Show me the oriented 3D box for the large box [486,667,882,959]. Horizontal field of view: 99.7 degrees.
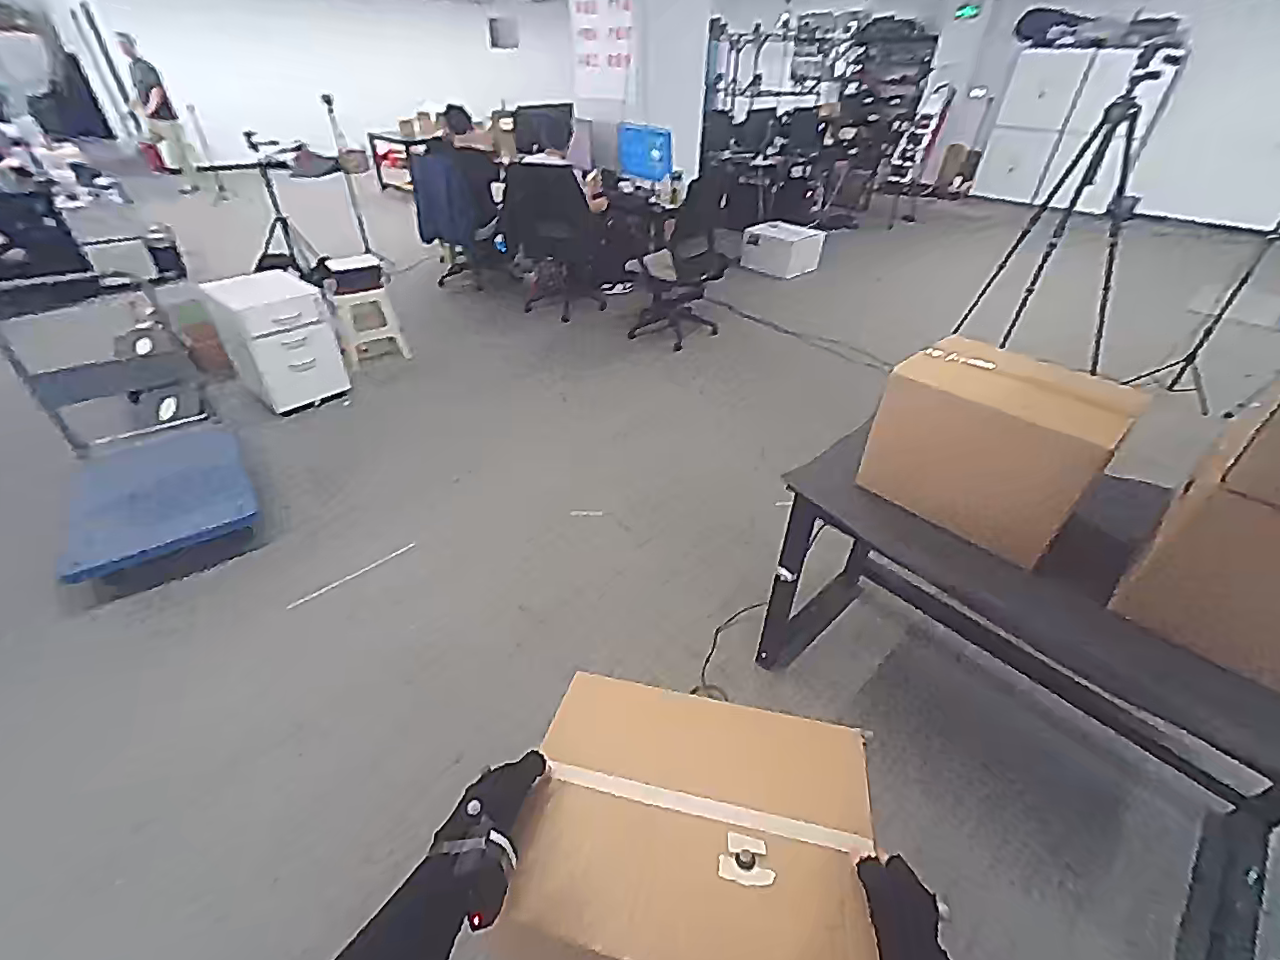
[{"bbox_3d":[0.061,0.506,0.720,0.408,0.320,0.320,8,30,12],"label":"large box"}]
